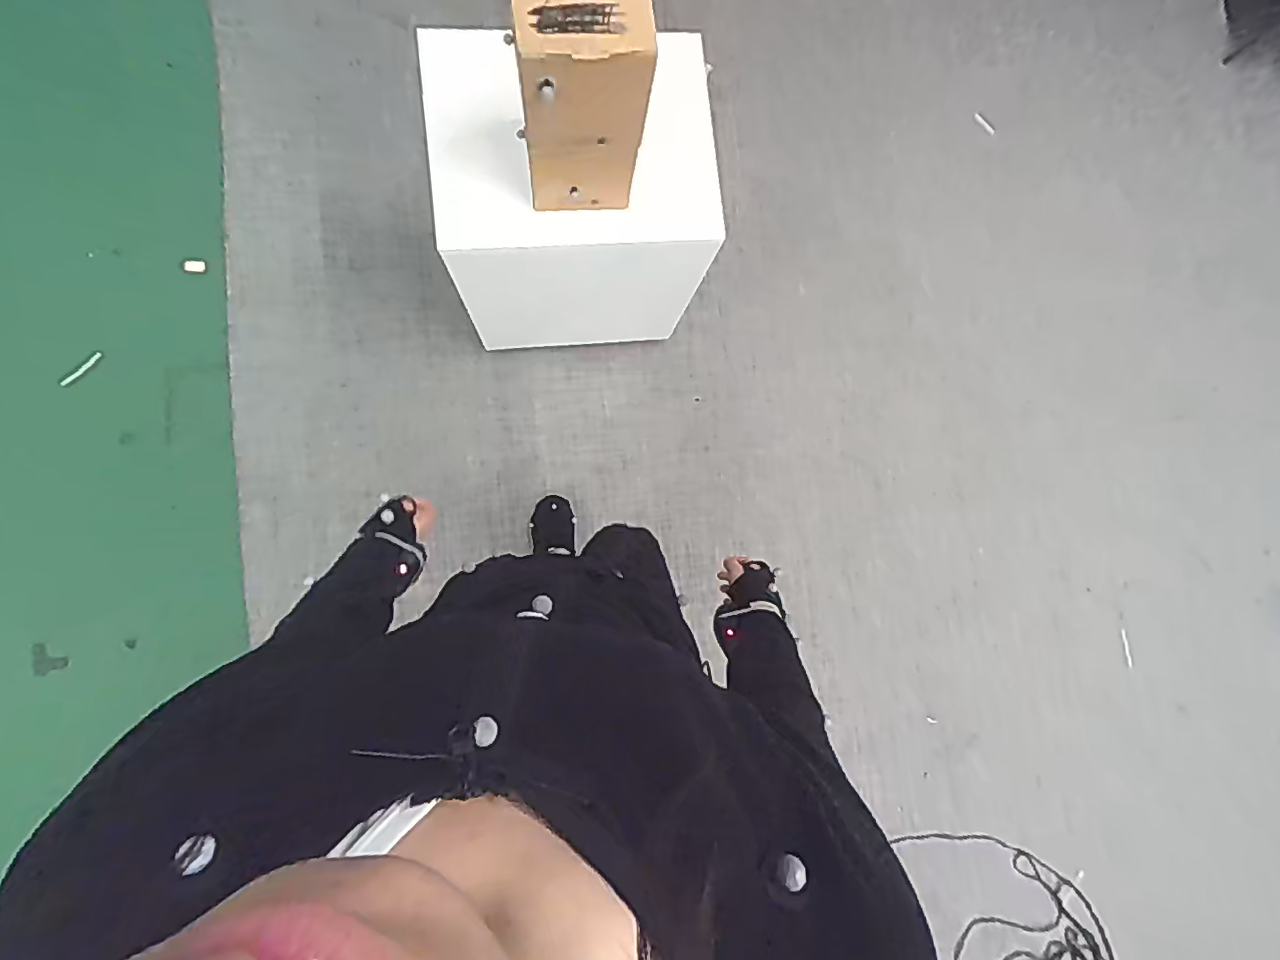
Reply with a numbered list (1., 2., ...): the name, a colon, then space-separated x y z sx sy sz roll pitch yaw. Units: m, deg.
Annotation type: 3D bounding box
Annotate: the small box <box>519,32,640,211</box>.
1. small box: -0.100 -0.559 0.862 0.168 0.176 0.179 -6 86 -8
